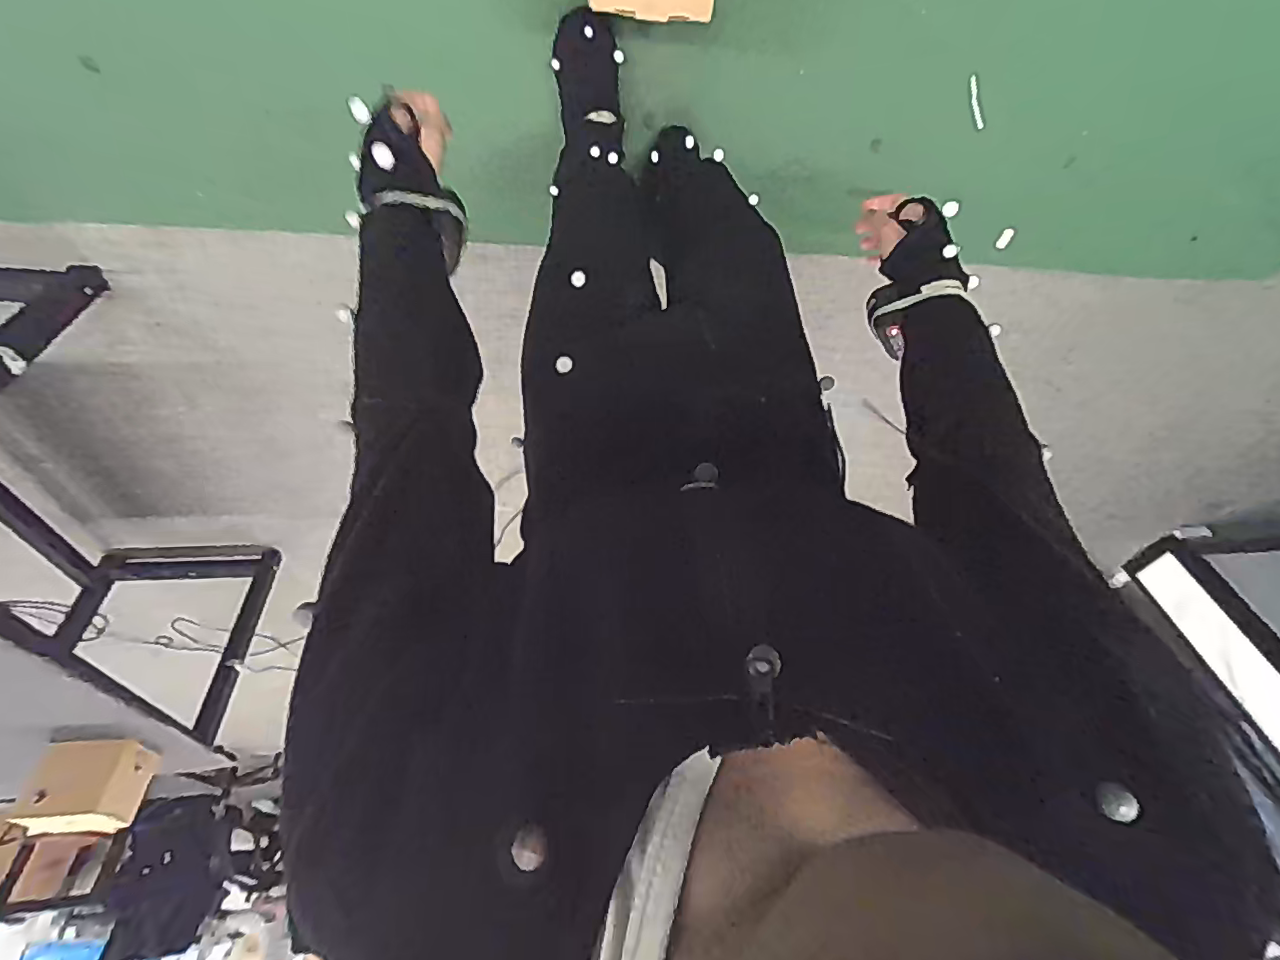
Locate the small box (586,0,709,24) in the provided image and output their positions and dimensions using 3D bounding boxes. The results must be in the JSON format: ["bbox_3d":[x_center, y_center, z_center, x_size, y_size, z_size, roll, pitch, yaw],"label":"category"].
[{"bbox_3d":[0.007,-0.734,0.708,0.168,0.176,0.179,-2,138,-10],"label":"small box"}]

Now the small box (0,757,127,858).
[{"bbox_3d":[-1.390,0.773,1.281,0.179,0.176,0.168,1,138,-13],"label":"small box"}]
